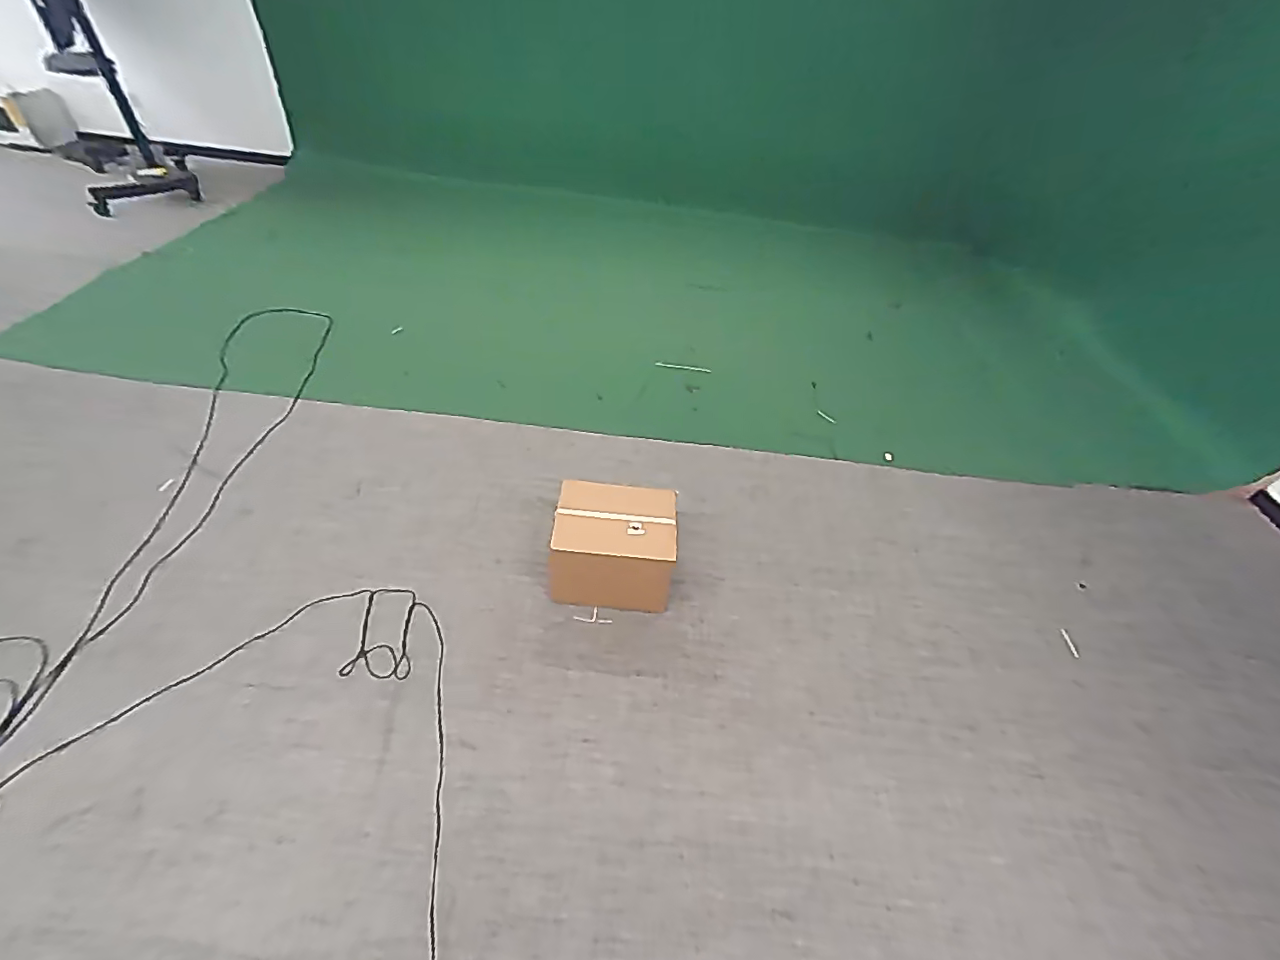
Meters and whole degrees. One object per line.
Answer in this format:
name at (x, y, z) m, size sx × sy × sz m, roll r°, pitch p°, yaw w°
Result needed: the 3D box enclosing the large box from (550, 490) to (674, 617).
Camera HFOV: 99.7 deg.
large box at (-0.102, 0.264, 1.922) m, size 0.408 × 0.320 × 0.320 m, roll 5°, pitch 44°, yaw -3°
